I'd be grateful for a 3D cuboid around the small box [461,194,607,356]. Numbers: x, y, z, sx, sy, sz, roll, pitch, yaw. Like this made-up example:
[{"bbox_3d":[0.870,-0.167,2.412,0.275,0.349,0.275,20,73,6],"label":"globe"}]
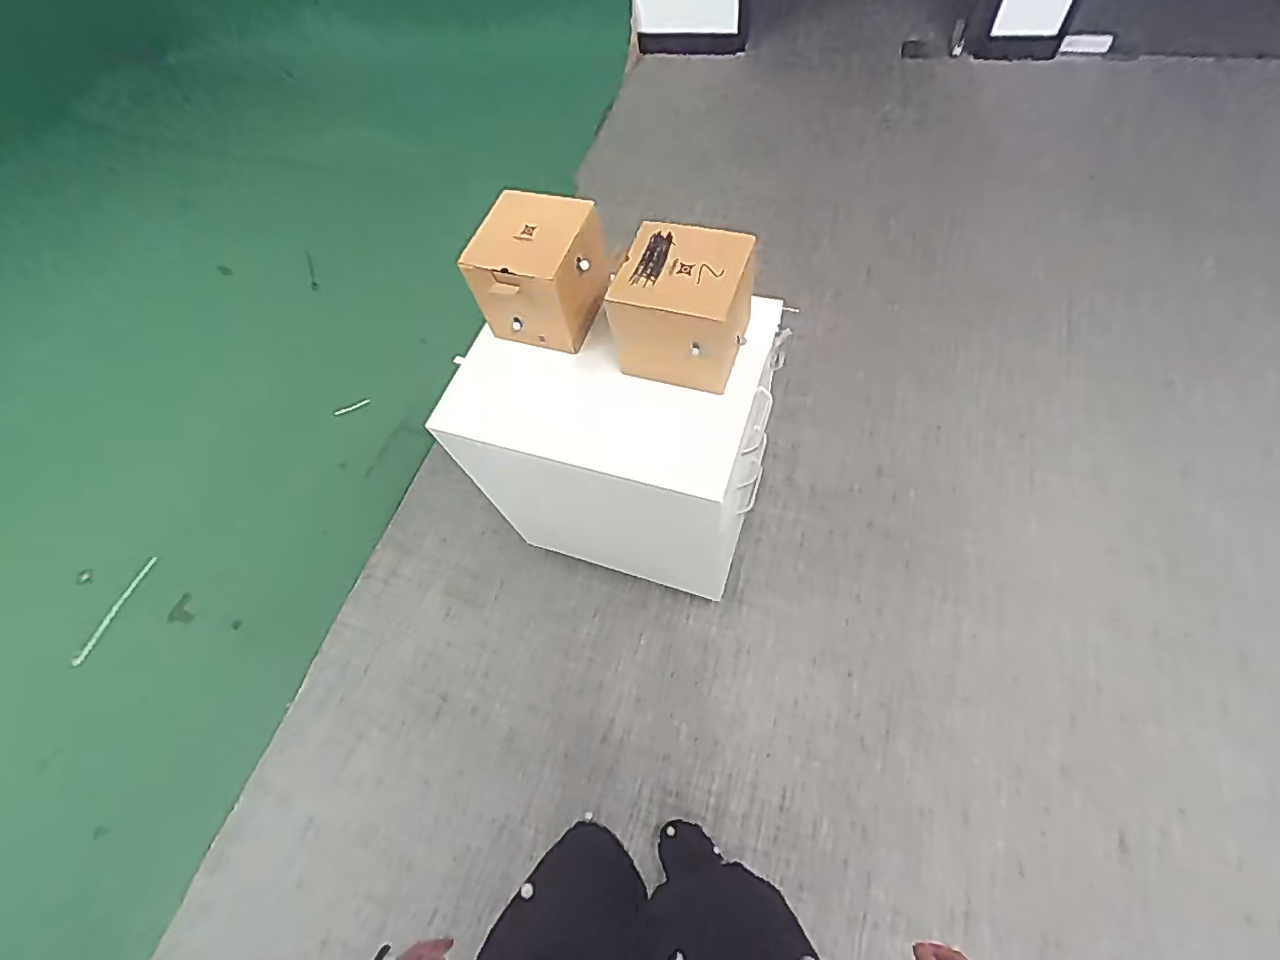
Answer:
[{"bbox_3d":[-0.164,-0.341,0.909,0.168,0.176,0.179,15,67,14],"label":"small box"}]
